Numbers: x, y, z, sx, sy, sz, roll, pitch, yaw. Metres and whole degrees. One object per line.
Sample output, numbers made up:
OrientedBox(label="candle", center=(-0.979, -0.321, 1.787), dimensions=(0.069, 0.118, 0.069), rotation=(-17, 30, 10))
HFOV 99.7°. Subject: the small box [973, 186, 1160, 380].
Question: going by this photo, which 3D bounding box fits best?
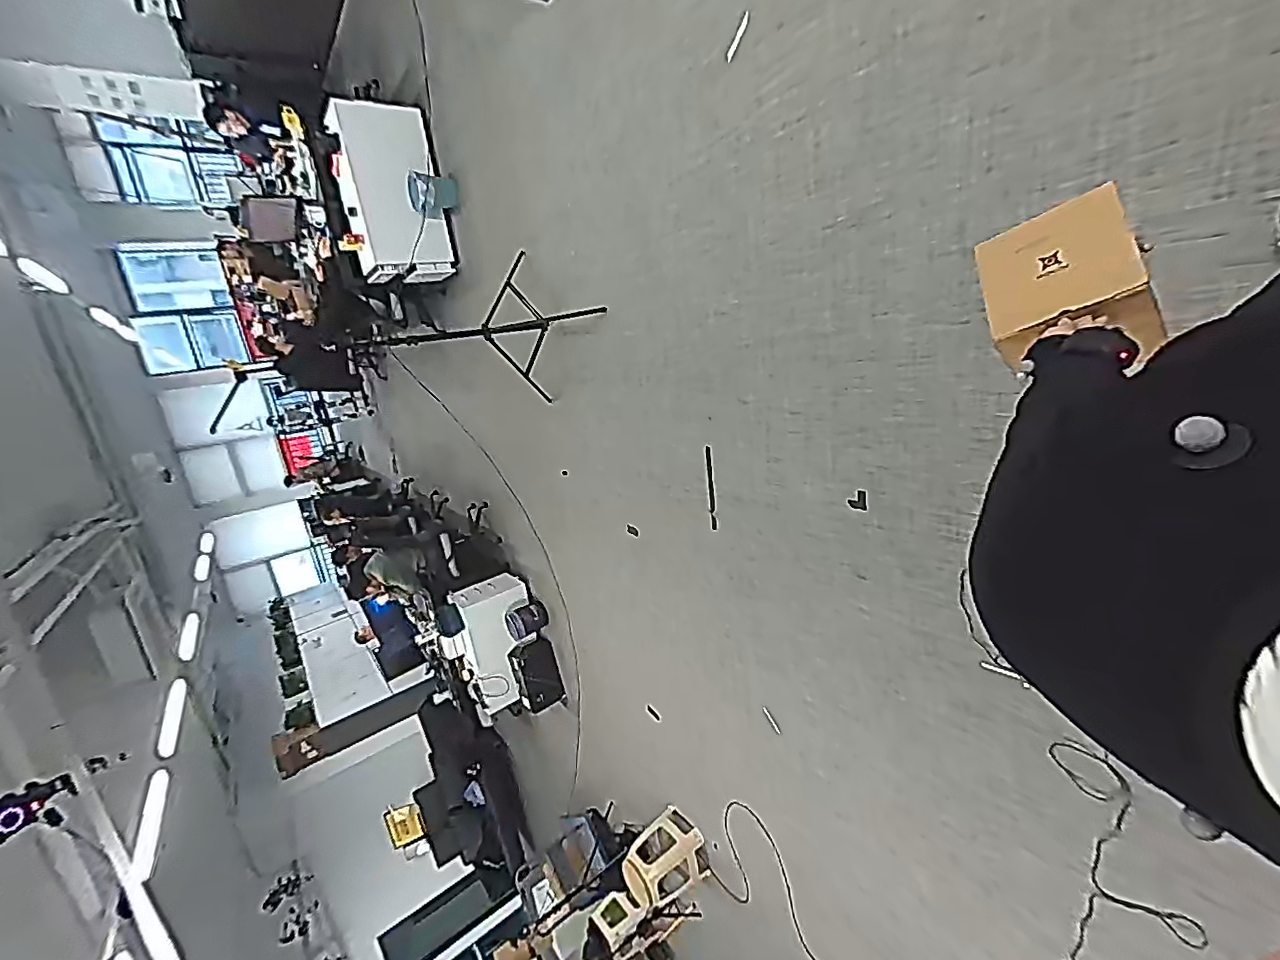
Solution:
OrientedBox(label="small box", center=(0.610, -0.264, 0.779), dimensions=(0.168, 0.176, 0.179), rotation=(-18, 57, 43))
